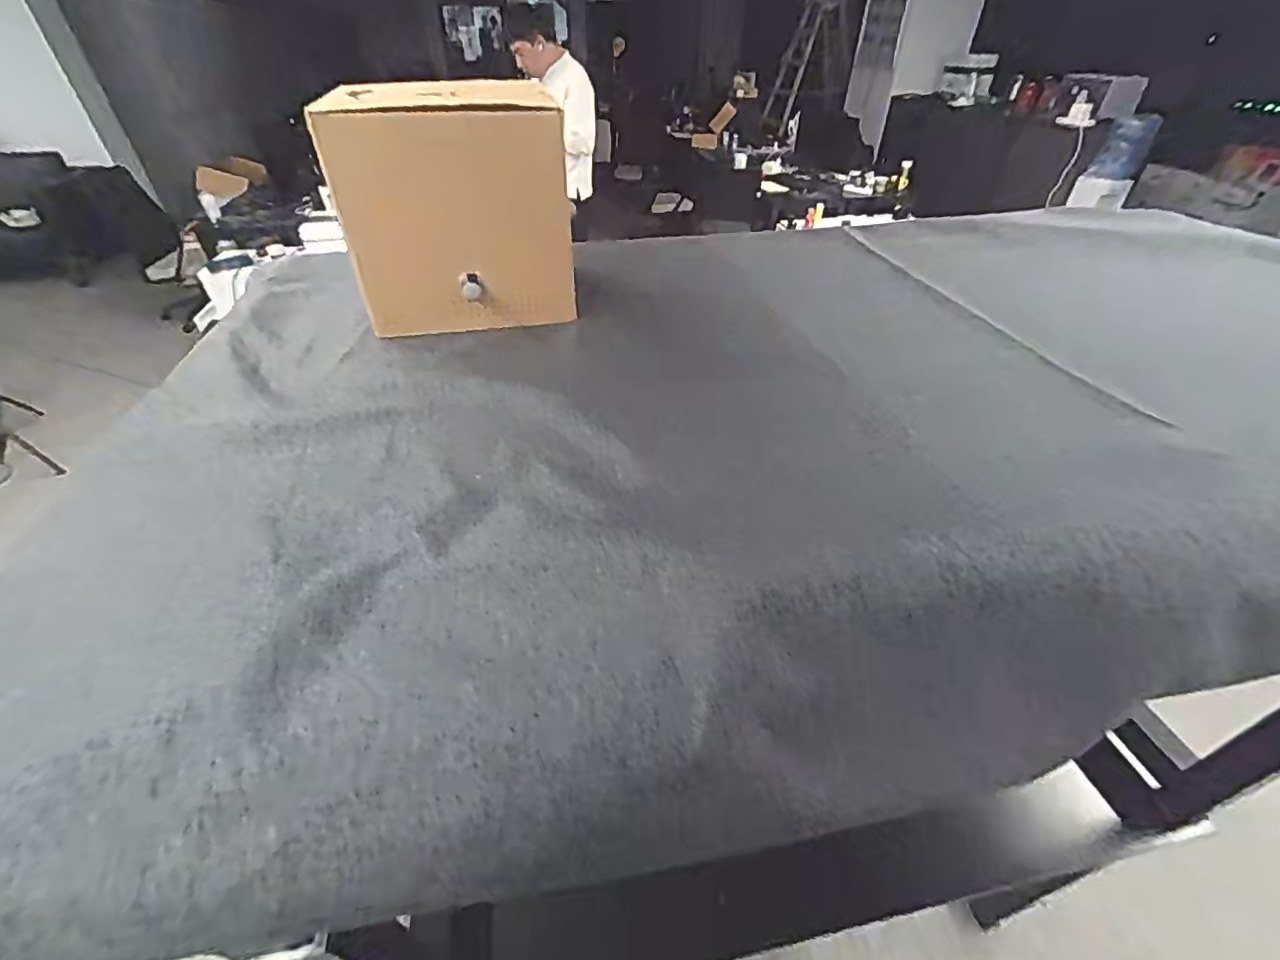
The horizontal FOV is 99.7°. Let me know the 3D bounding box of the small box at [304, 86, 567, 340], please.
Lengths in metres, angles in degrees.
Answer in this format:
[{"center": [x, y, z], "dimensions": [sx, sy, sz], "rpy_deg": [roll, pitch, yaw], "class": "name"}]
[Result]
[{"center": [-0.162, -0.241, 0.487], "dimensions": [0.179, 0.176, 0.168], "rpy_deg": [-8, 41, -11], "class": "small box"}]
